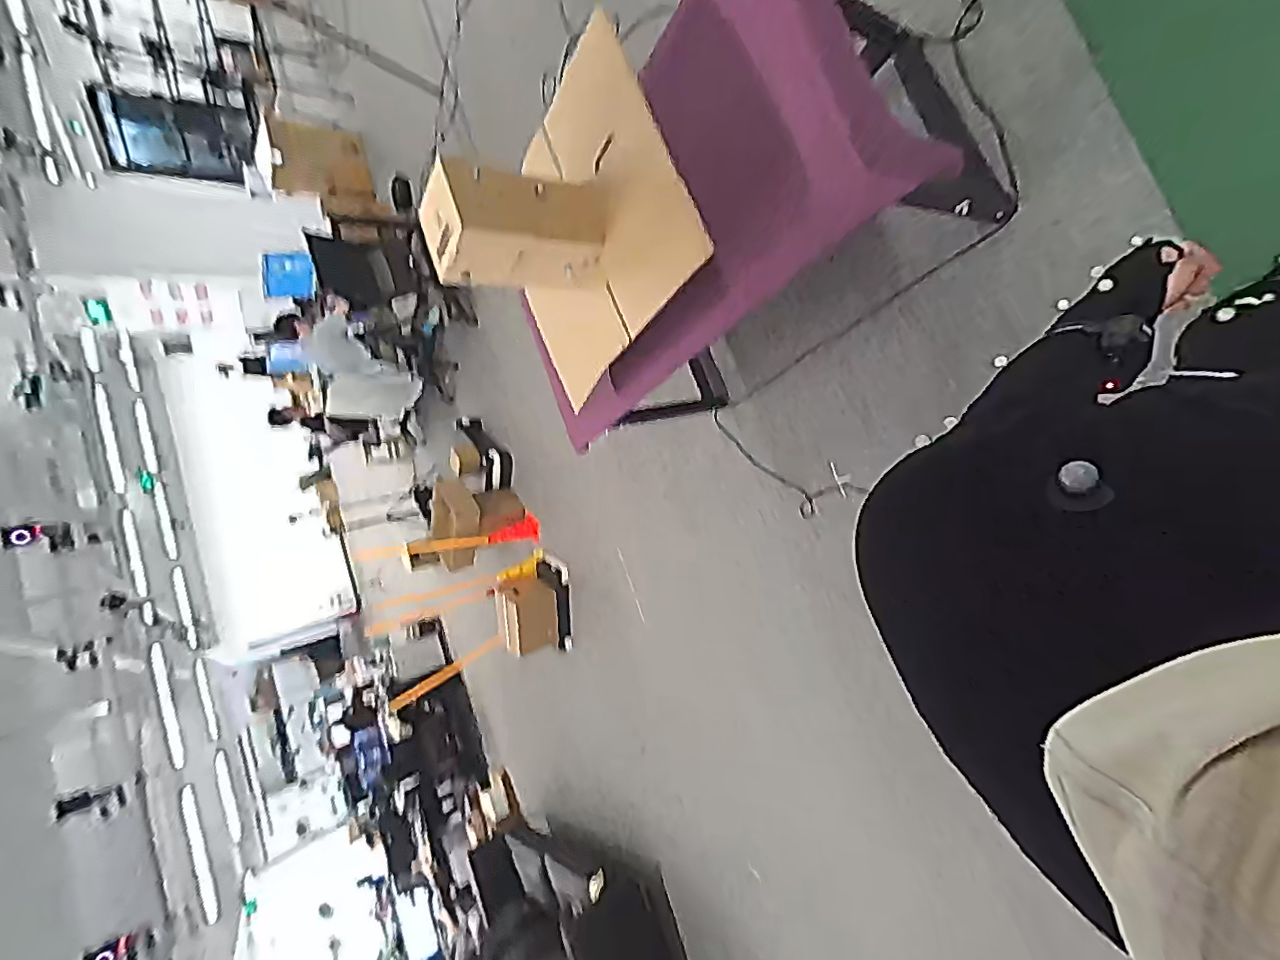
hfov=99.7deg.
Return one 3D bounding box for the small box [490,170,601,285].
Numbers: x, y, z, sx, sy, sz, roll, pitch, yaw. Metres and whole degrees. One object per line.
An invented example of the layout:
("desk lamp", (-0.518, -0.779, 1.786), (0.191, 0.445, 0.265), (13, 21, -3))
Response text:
("small box", (-0.217, -0.569, 1.246), (0.168, 0.176, 0.179), (-32, 77, 50))
